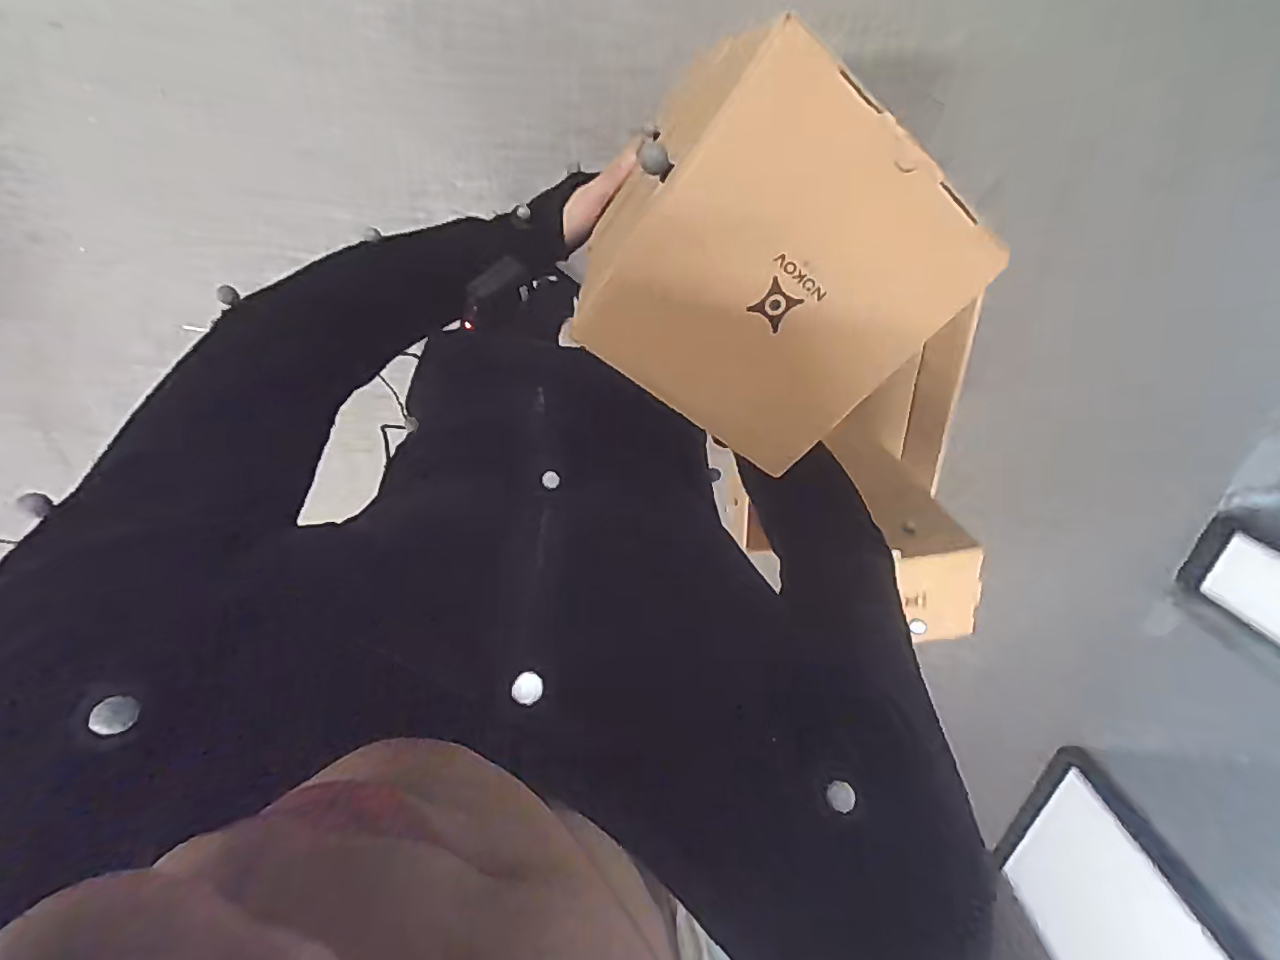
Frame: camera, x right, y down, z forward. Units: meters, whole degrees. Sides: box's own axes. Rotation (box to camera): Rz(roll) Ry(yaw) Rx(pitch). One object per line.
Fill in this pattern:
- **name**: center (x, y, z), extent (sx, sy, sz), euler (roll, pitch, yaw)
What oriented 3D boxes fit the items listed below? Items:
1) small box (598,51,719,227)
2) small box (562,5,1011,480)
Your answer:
- **small box**: center (0.067, -0.332, 0.610), extent (0.168, 0.176, 0.179), euler (32, 119, -21)
- **small box**: center (0.072, -0.140, 0.347), extent (0.168, 0.176, 0.179), euler (31, 118, -20)
